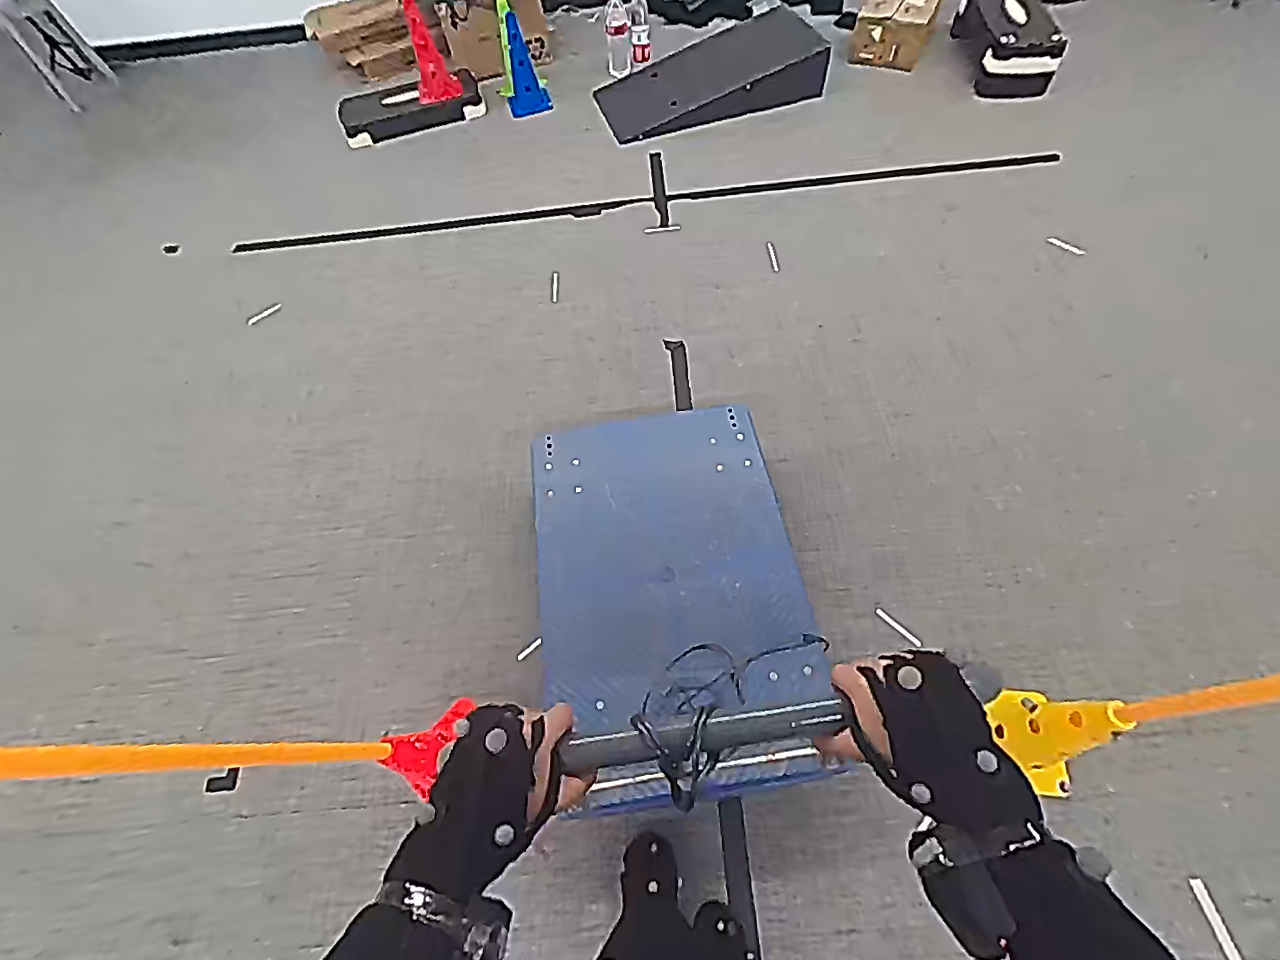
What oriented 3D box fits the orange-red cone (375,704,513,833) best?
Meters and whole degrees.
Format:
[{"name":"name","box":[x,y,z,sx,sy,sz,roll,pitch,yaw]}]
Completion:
[{"name":"orange-red cone","box":[-0.411,0.538,1.040,0.198,0.360,0.199,37,67,22]}]
